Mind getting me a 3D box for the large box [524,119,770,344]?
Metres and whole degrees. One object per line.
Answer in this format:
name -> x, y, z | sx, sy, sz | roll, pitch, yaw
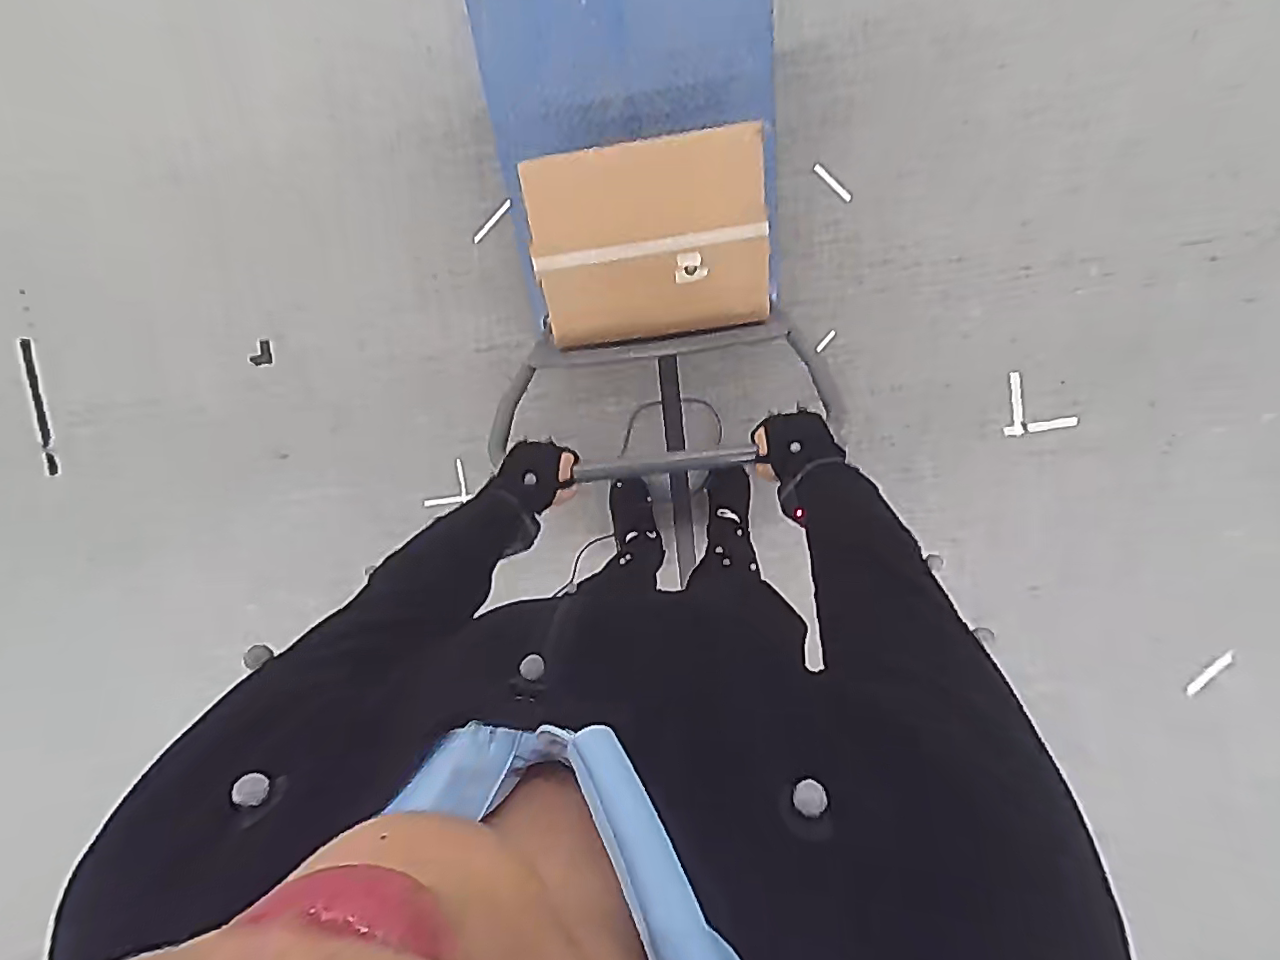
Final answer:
large box -> 0.023, -0.487, 1.087 | 0.408, 0.320, 0.320 | -7, 117, 5
